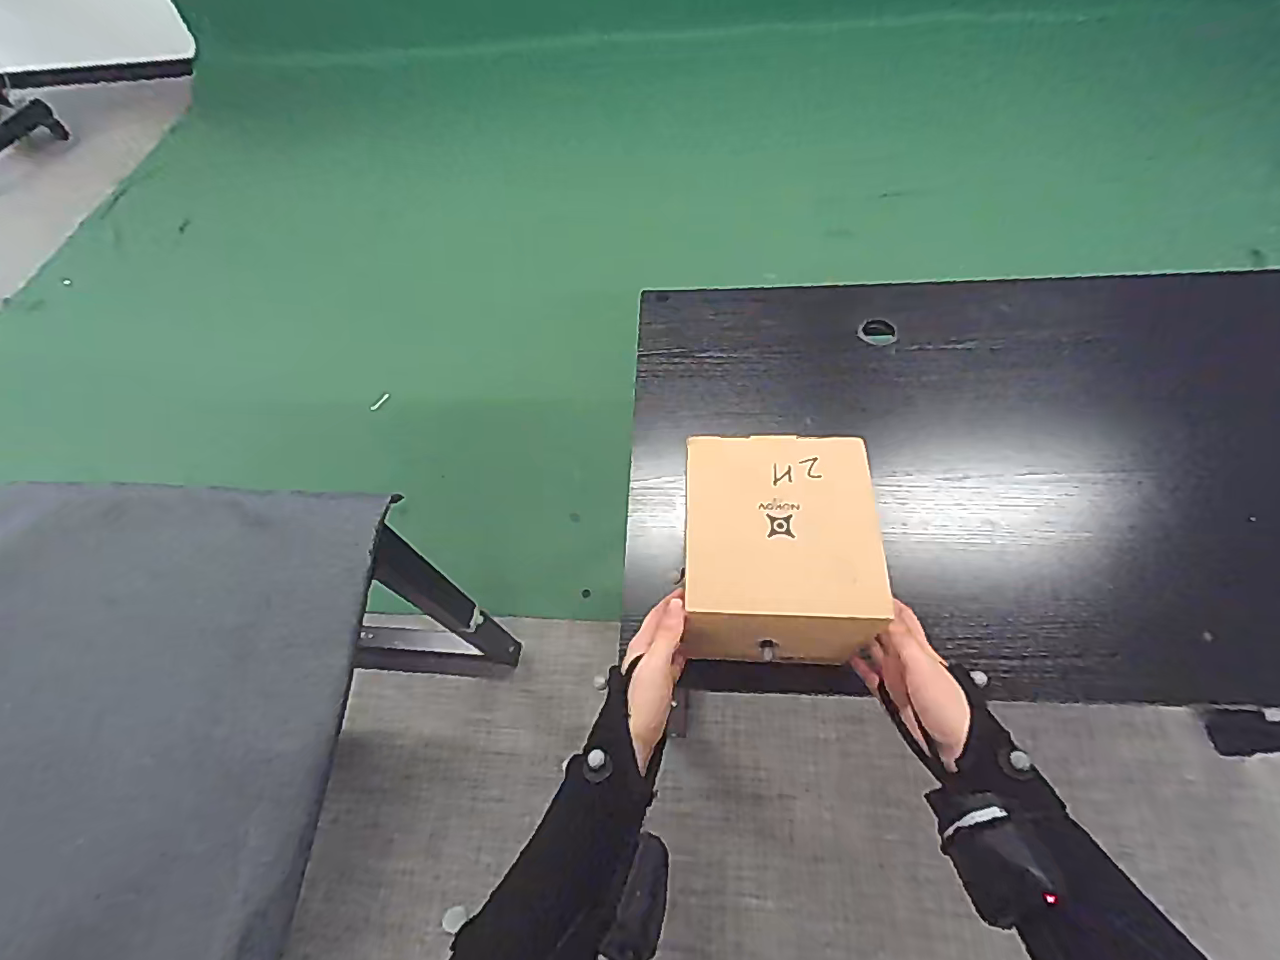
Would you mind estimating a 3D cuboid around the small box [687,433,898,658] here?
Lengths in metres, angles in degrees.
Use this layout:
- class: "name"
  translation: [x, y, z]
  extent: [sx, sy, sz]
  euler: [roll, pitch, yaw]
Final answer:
- class: "small box"
  translation: [0.131, 0.071, 0.535]
  extent: [0.168, 0.176, 0.179]
  euler: [1, 60, 5]
